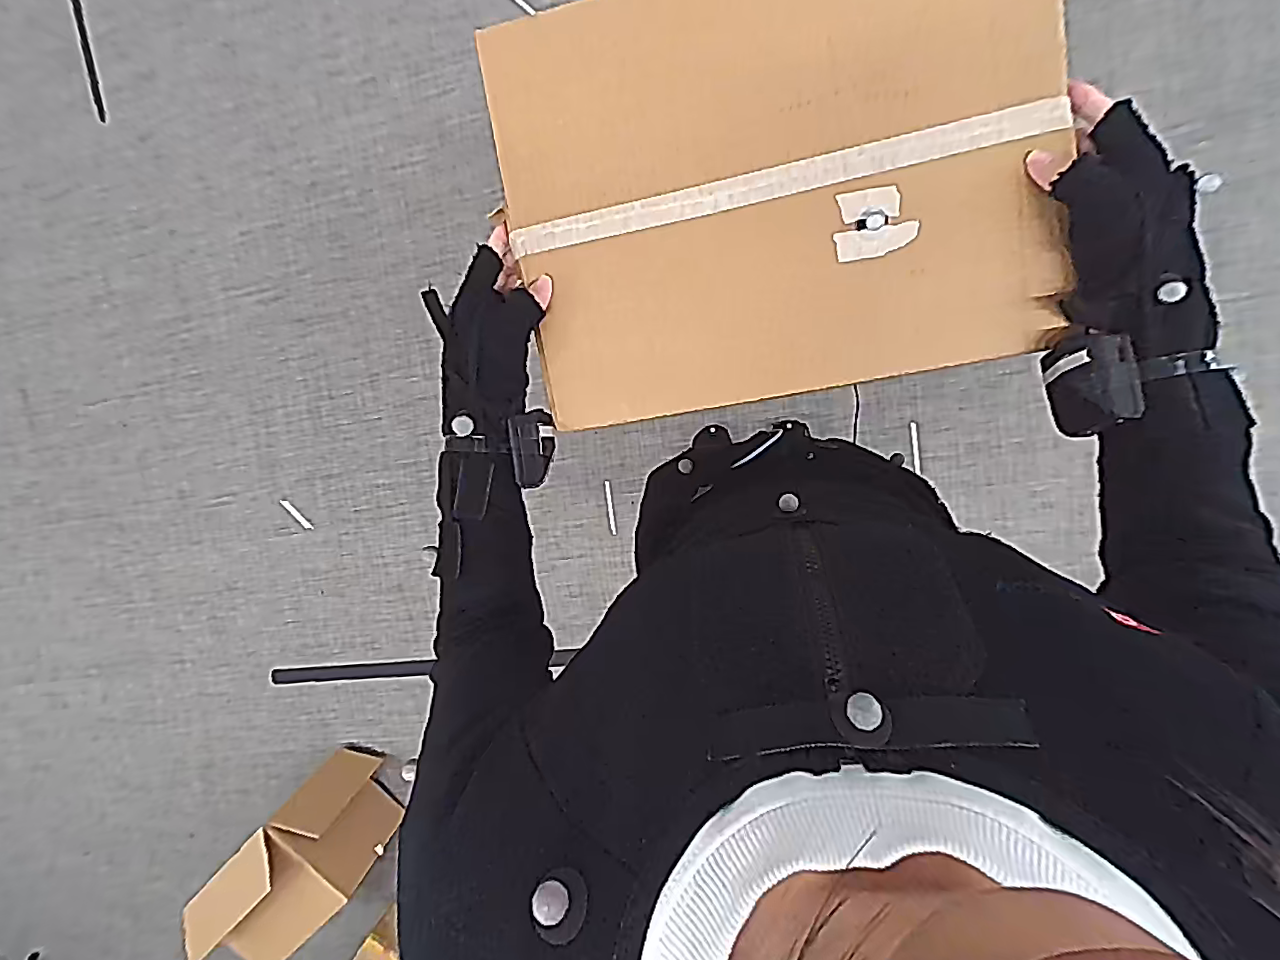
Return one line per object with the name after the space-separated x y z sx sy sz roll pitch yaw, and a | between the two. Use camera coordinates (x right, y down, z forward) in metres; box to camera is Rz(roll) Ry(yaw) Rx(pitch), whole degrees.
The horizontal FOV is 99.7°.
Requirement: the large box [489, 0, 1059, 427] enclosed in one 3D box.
0.115 -0.249 0.566 0.408 0.320 0.320 -9 99 9 | large box
